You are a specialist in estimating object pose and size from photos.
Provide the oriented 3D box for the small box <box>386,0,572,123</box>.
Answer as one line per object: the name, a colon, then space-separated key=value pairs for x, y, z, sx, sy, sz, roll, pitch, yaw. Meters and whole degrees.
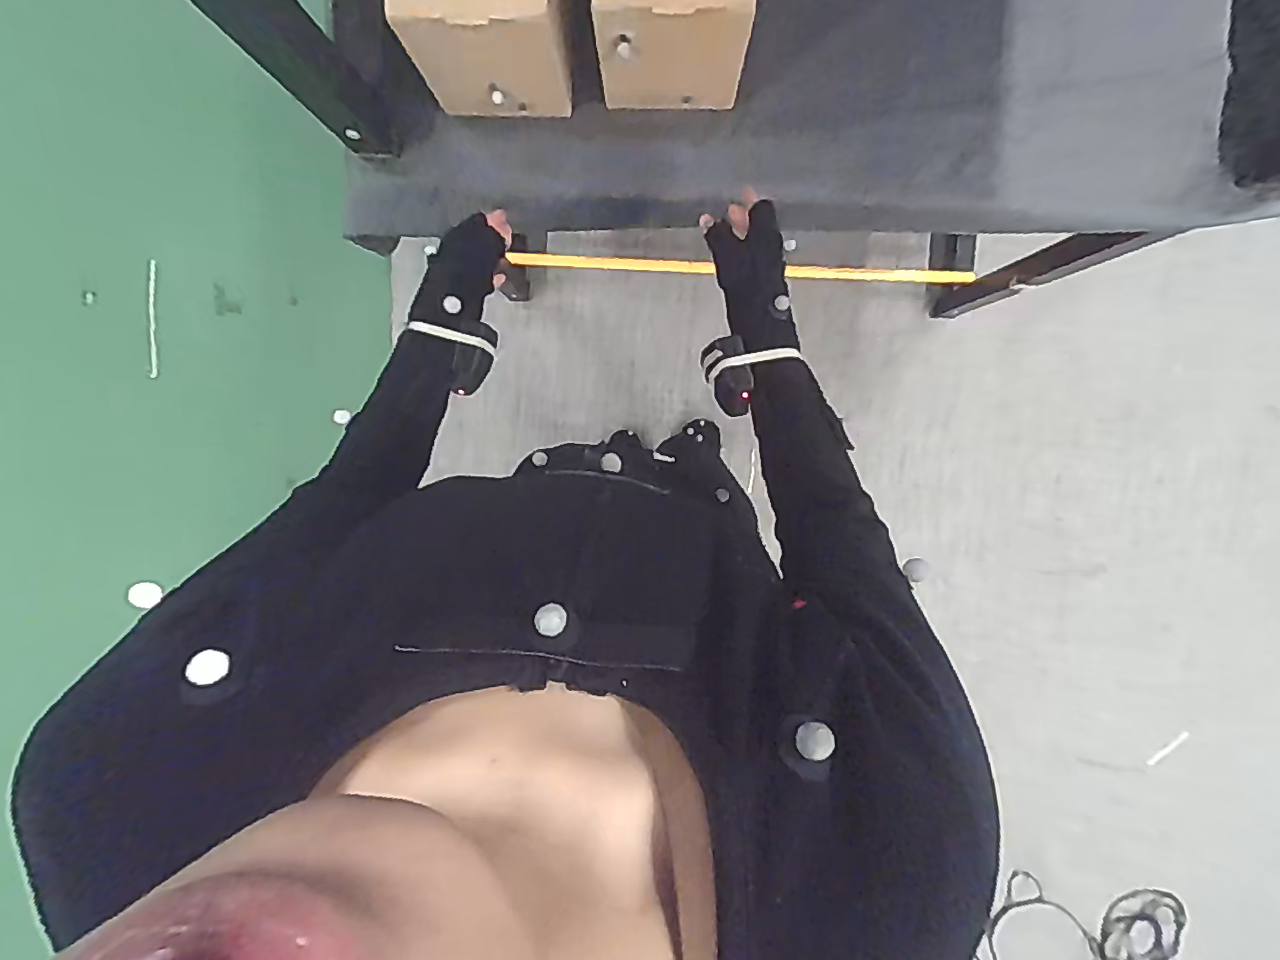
small box: x=-0.171 y=-0.548 z=0.618 sx=0.168 sy=0.176 sz=0.179 roll=1 pitch=95 yaw=1

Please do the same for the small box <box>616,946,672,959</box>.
small box: x=0.012 y=1.466 z=1.517 sx=0.168 sy=0.176 sz=0.179 roll=0 pitch=93 yaw=-1
